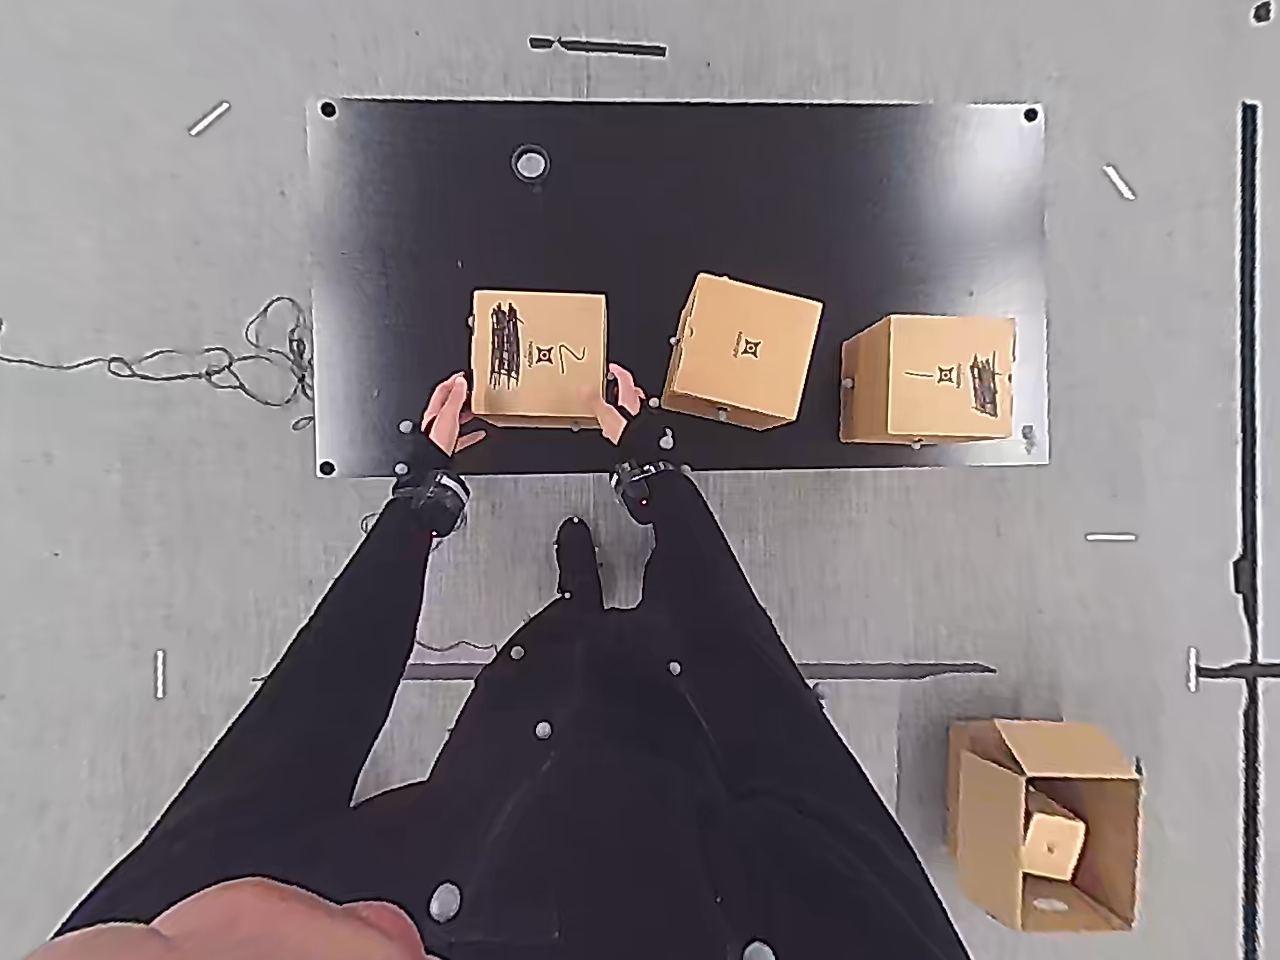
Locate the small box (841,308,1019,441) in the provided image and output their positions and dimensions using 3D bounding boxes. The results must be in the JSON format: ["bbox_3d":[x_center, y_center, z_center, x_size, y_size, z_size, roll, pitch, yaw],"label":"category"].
[{"bbox_3d":[0.421,-0.148,0.807,0.179,0.176,0.168,1,90,-1],"label":"small box"}]

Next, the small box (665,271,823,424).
[{"bbox_3d":[0.143,-0.183,0.800,0.179,0.176,0.168,12,90,-1],"label":"small box"}]
